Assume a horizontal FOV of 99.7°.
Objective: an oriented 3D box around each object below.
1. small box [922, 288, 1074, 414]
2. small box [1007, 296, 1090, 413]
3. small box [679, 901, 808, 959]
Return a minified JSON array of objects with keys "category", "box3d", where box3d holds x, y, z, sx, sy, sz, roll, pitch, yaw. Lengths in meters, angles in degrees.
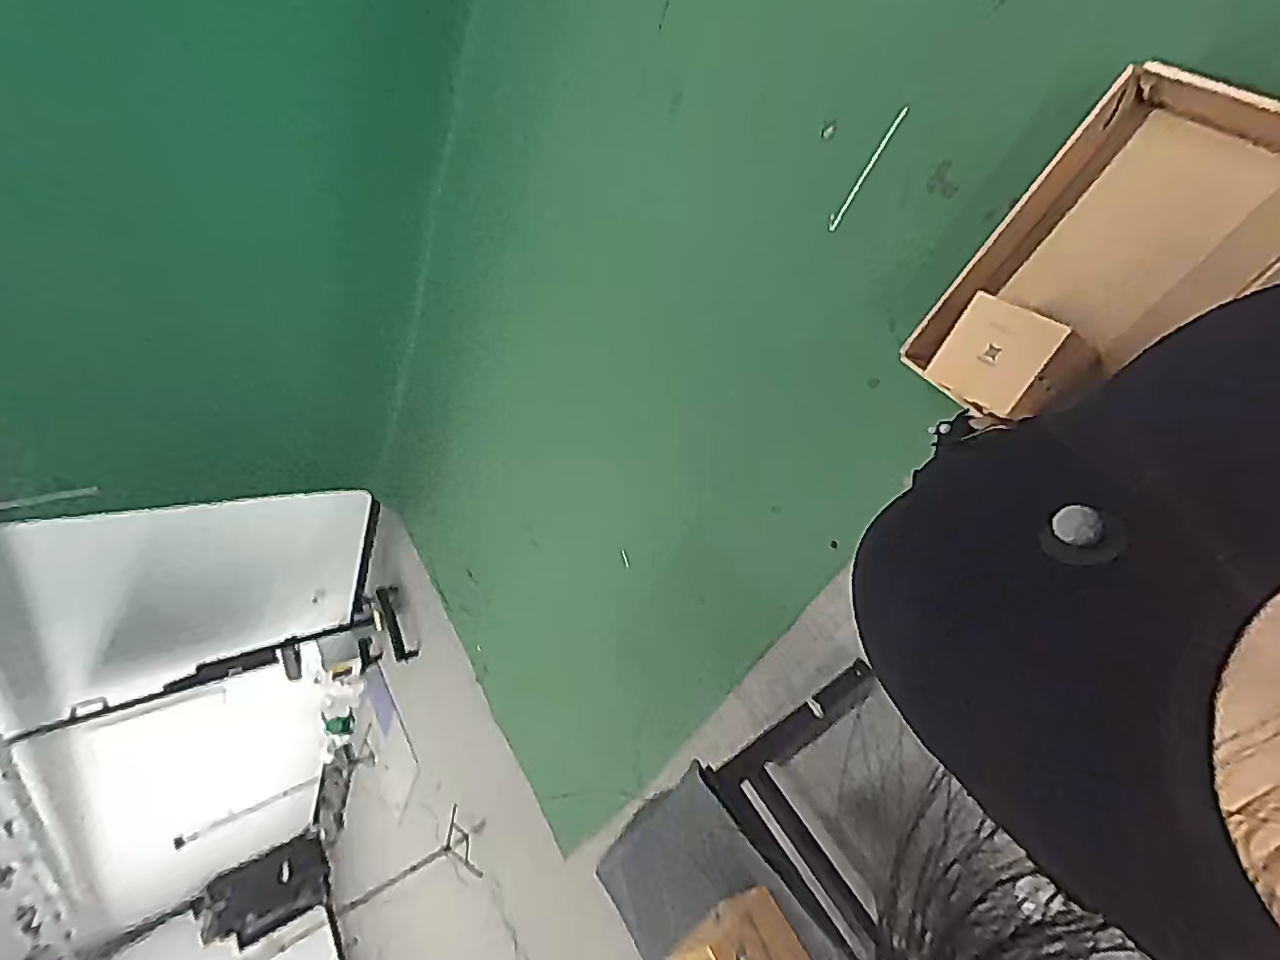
[{"category":"small box","box3d":[0.682,-0.238,1.027,0.168,0.176,0.179,41,121,32]},{"category":"small box","box3d":[0.800,-0.259,1.139,0.168,0.176,0.179,51,128,27]},{"category":"small box","box3d":[0.191,0.886,0.951,0.179,0.176,0.168,53,131,25]}]
